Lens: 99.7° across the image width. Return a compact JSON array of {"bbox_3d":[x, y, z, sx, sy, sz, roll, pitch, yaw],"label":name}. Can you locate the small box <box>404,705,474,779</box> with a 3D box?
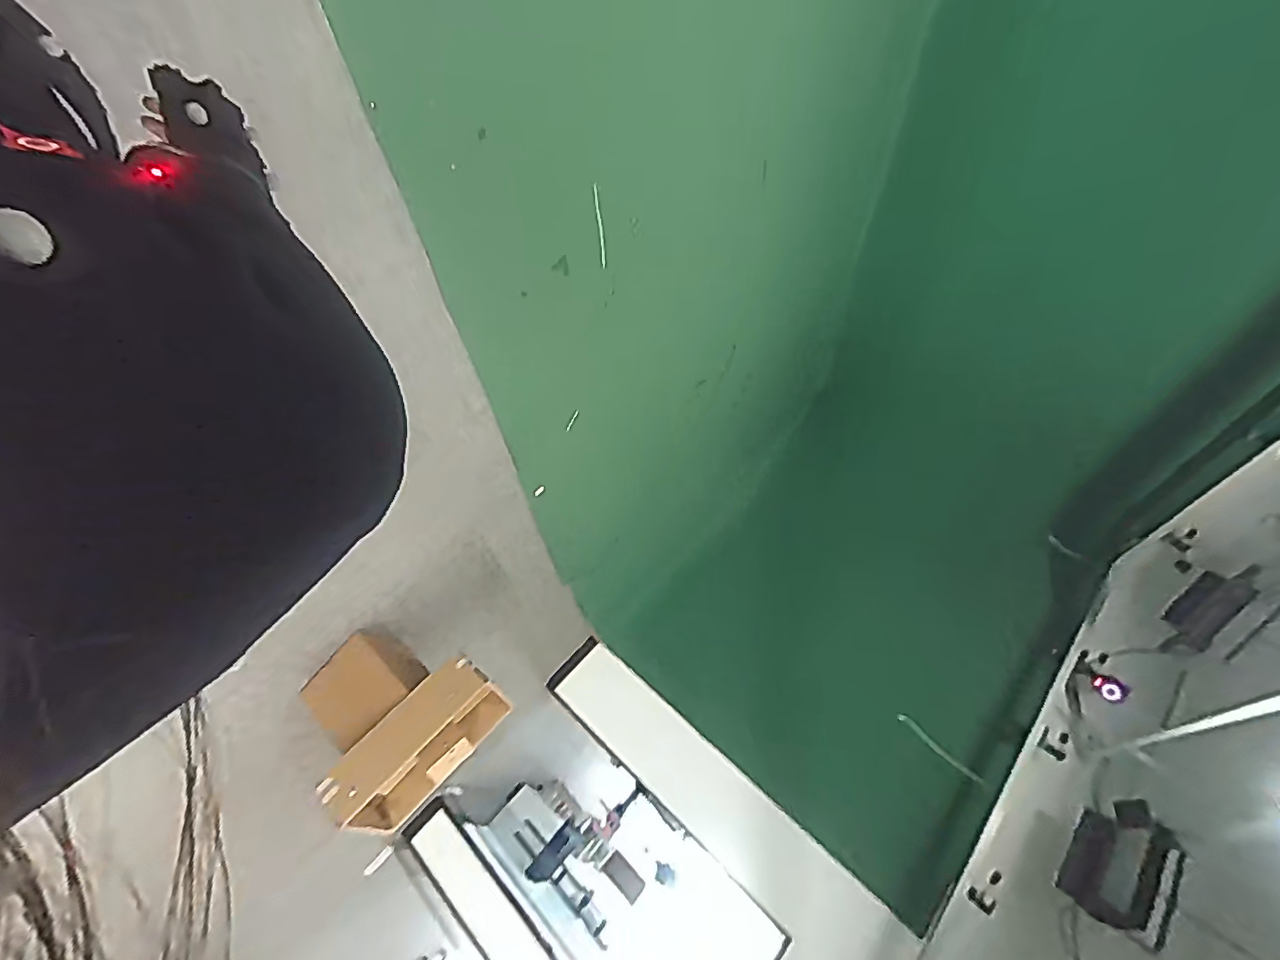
[{"bbox_3d":[-0.760,0.988,2.048,0.168,0.176,0.179,-40,151,-30],"label":"small box"}]
